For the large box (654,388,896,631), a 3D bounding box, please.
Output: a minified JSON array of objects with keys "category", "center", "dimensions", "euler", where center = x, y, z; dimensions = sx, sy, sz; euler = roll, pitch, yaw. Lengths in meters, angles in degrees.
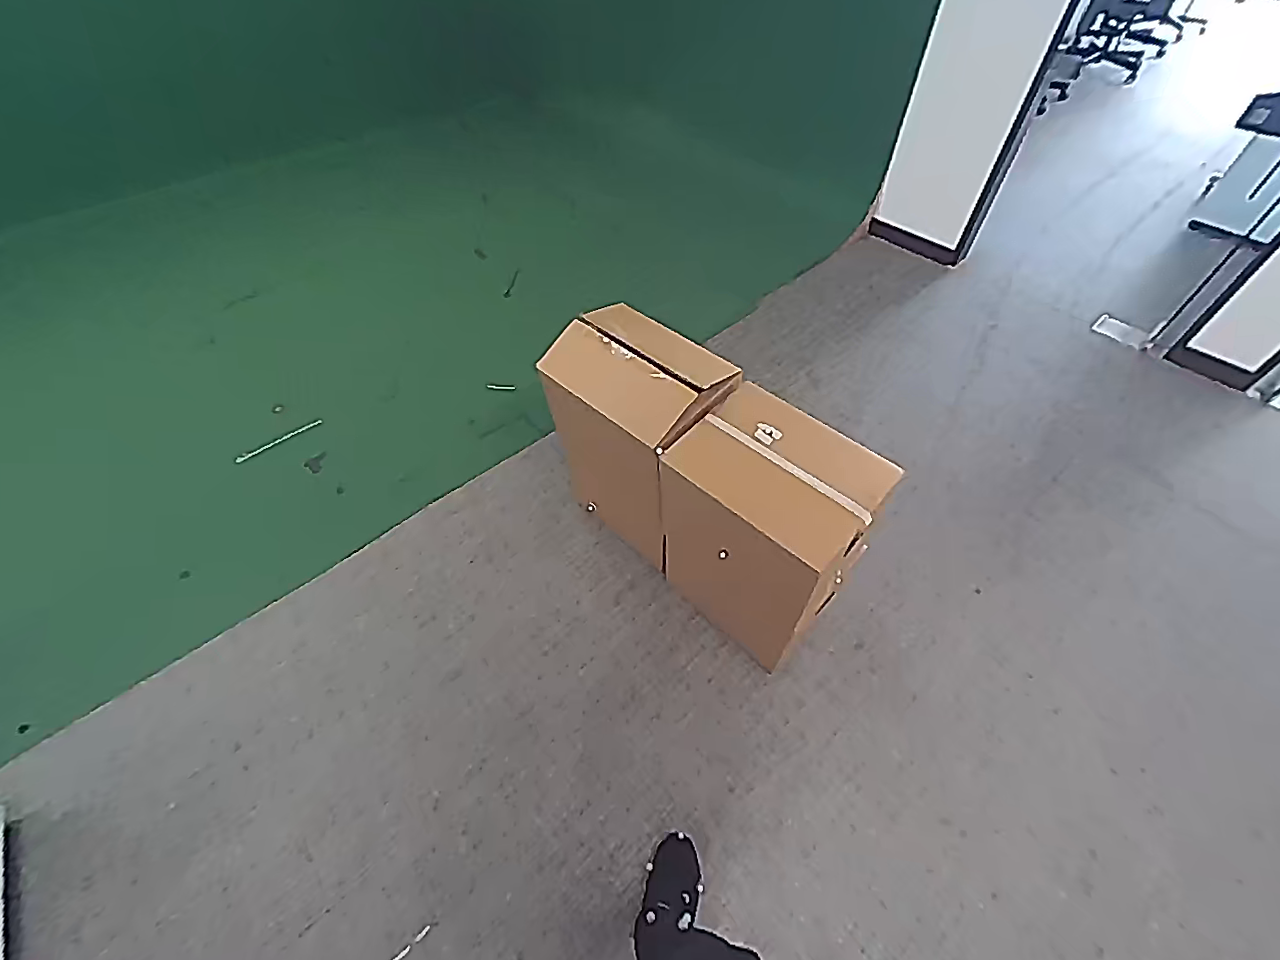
[{"category":"large box","center":[0.286,0.065,1.237],"dimensions":[0.408,0.320,0.320],"euler":[36,63,27]}]
